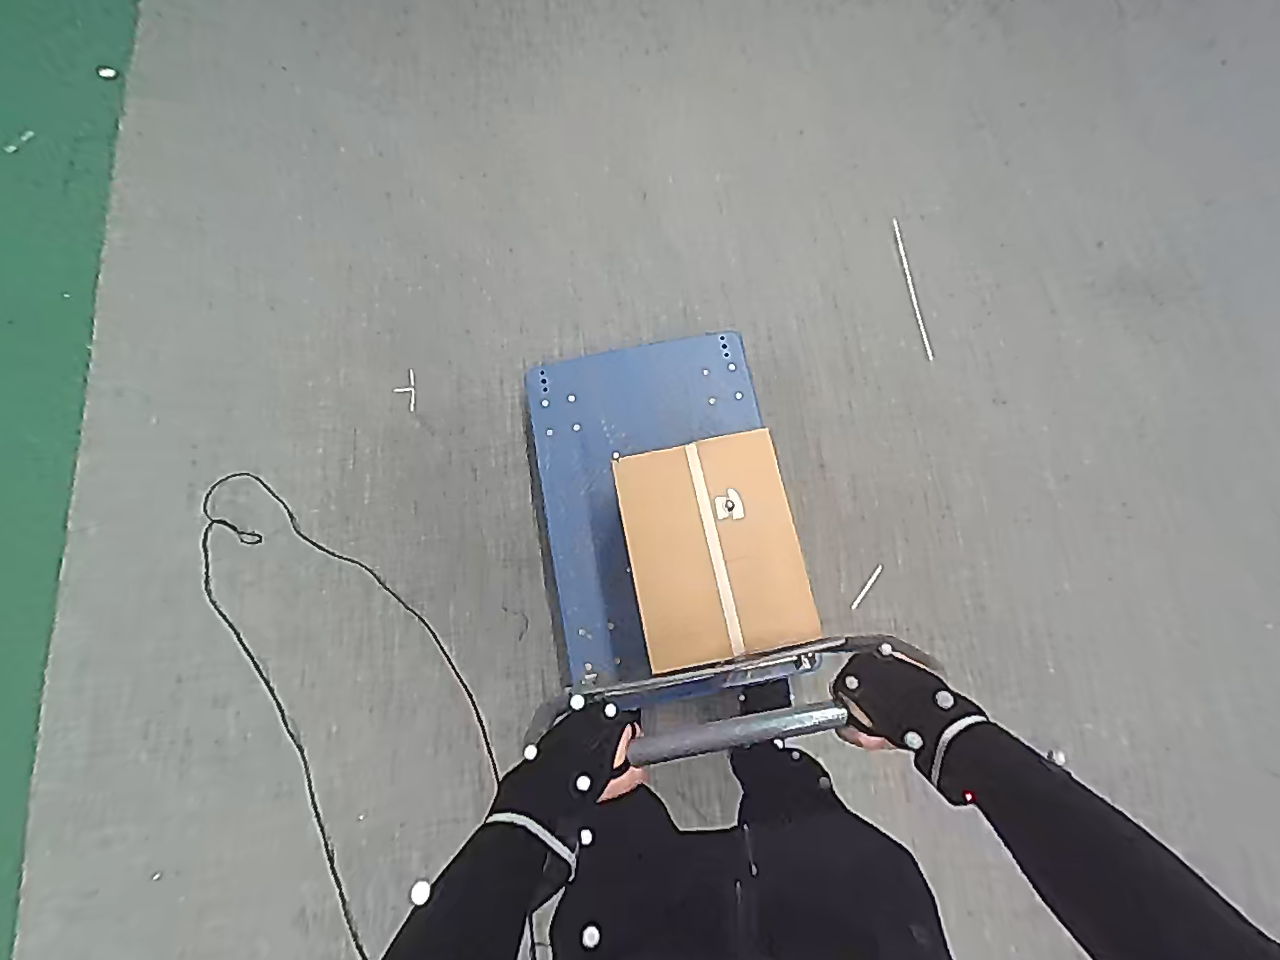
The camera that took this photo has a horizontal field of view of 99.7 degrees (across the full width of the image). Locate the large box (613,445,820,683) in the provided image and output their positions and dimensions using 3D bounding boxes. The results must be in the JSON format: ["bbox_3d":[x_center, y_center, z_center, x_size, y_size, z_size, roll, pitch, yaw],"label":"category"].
[{"bbox_3d":[0.145,0.185,1.164,0.320,0.320,0.408,-12,75,-1],"label":"large box"}]
